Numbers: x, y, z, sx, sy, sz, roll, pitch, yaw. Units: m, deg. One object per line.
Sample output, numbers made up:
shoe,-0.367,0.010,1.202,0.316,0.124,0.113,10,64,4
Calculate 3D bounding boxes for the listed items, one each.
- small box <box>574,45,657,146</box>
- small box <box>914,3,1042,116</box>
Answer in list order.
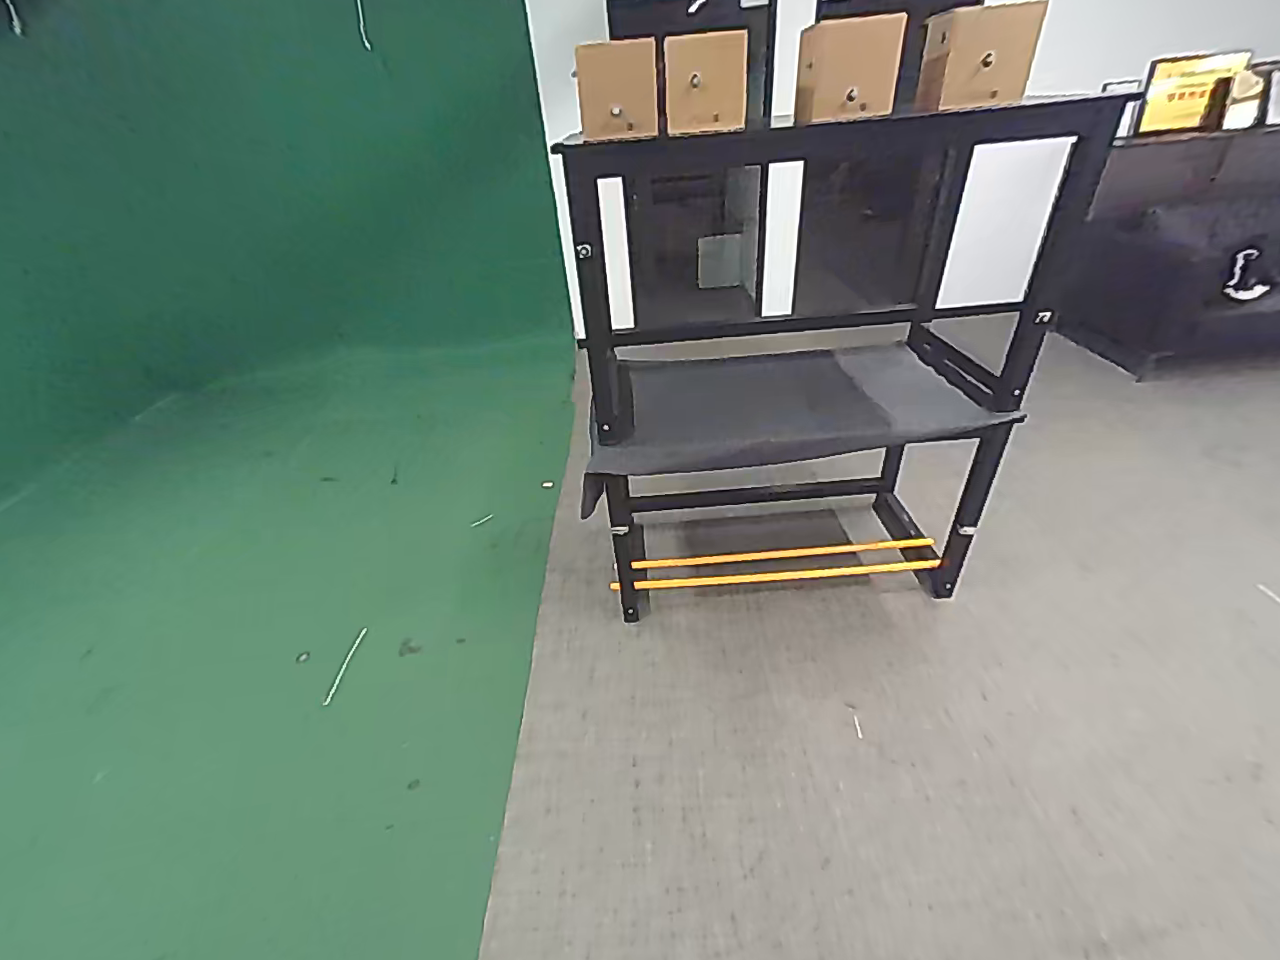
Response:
small box,-0.052,-0.846,1.199,0.168,0.176,0.179,-5,35,0
small box,0.709,-0.891,1.158,0.168,0.176,0.179,1,34,8
